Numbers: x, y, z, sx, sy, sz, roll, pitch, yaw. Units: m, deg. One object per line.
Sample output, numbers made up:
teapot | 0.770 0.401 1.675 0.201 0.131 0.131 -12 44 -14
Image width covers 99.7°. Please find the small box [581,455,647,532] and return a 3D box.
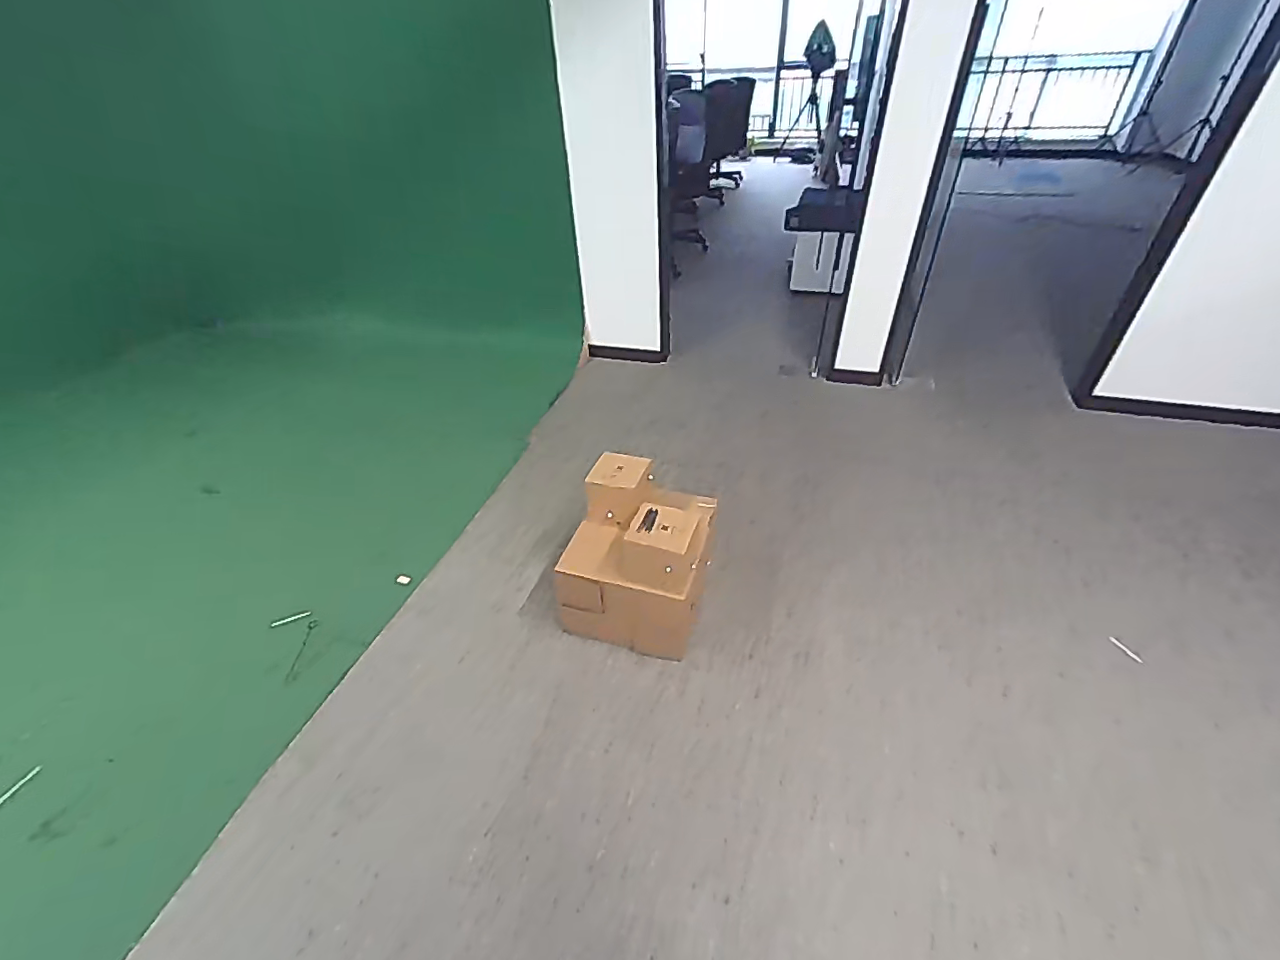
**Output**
small box | -0.079 0.042 1.752 0.168 0.176 0.179 9 37 16
